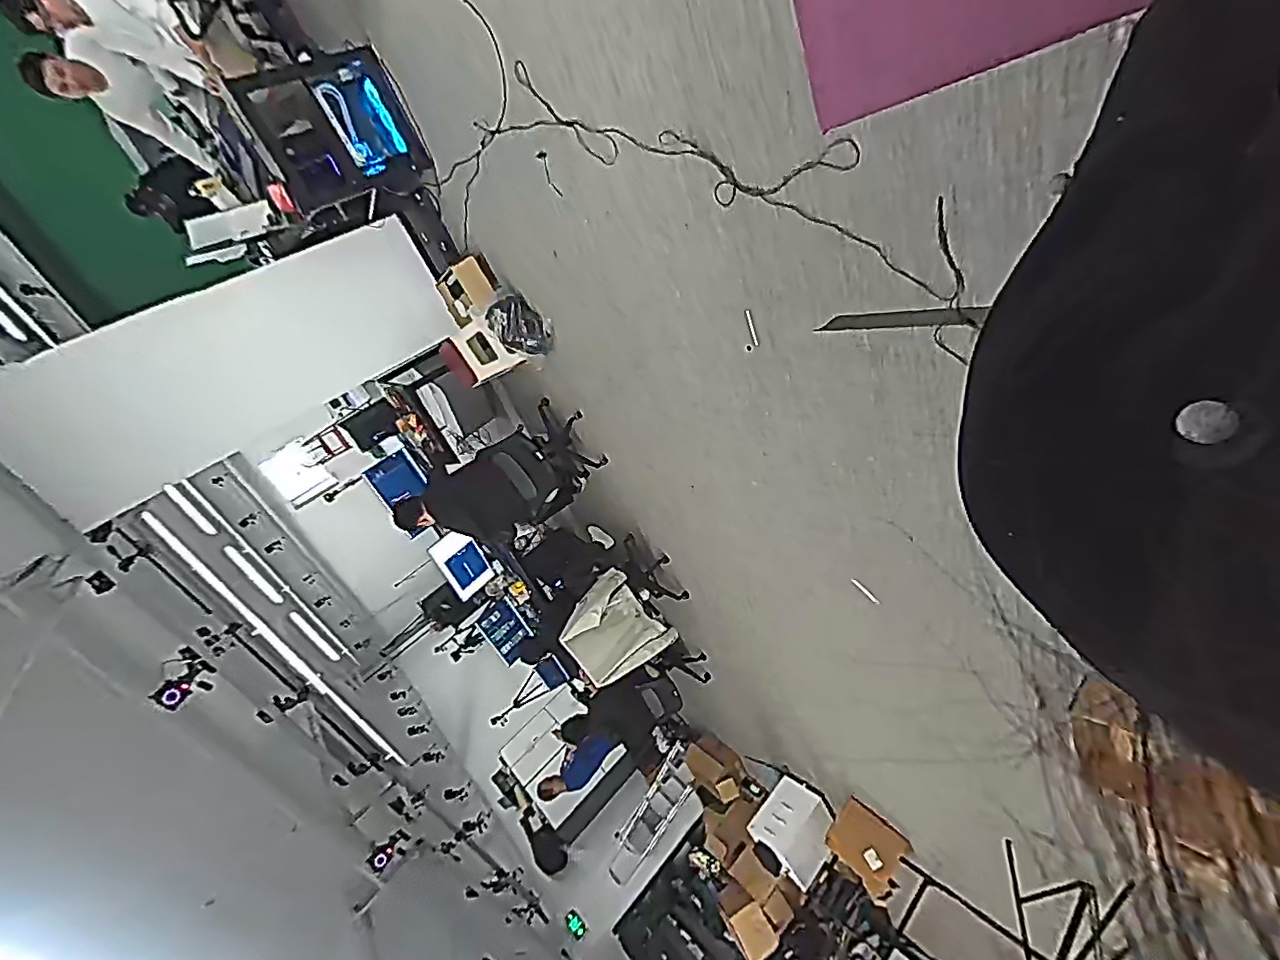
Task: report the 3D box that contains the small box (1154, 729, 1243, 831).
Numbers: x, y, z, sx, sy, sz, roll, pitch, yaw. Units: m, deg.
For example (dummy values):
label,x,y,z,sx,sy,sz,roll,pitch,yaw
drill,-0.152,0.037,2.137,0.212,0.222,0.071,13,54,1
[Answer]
label,x,y,z,sx,sy,sz,roll,pitch,yaw
small box,1.700,0.904,1.644,0.168,0.176,0.179,8,132,54
